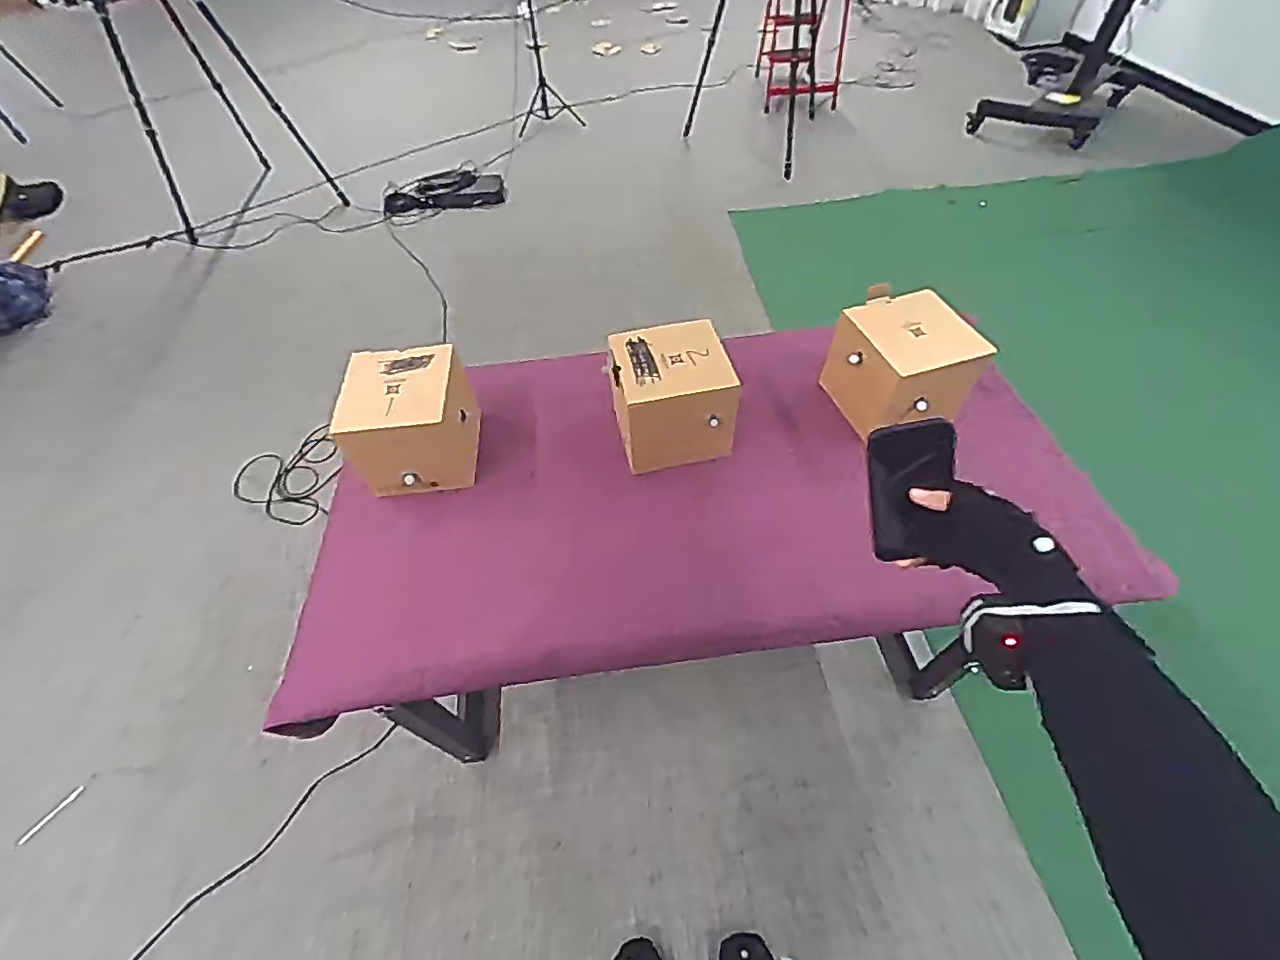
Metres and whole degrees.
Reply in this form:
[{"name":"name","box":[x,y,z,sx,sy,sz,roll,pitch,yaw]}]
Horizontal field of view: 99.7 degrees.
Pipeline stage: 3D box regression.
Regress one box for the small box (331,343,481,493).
[{"name":"small box","box":[-0.368,-0.099,0.889,0.168,0.176,0.179,-5,55,-1]}]

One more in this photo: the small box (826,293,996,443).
[{"name":"small box","box":[0.442,-0.182,0.916,0.168,0.176,0.179,-15,53,-8]}]
